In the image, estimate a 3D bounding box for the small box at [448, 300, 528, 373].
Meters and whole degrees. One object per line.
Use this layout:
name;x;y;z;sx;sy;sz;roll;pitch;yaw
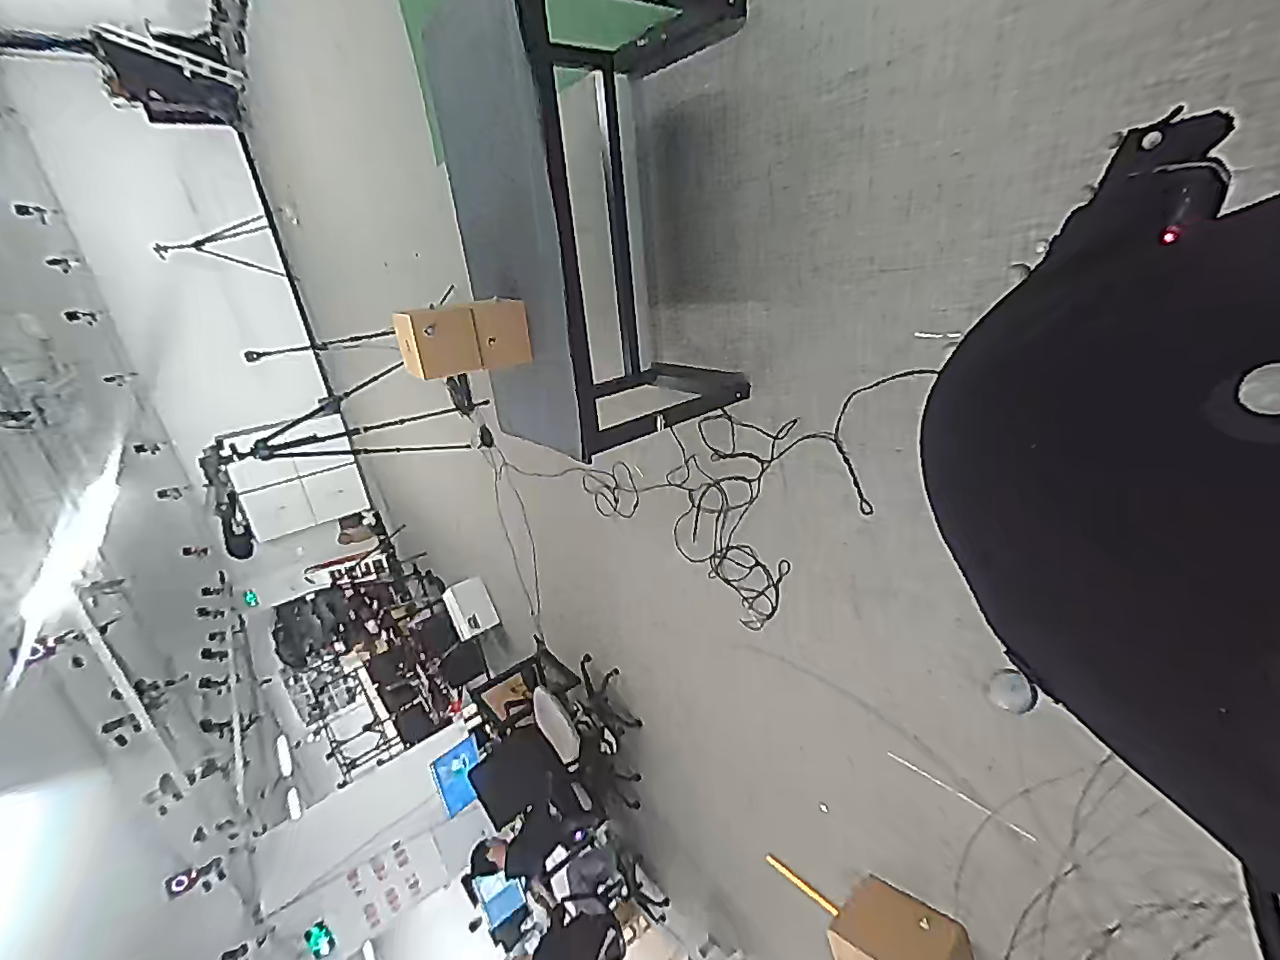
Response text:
small box;-0.449;-0.432;1.613;0.168;0.176;0.179;24;126;46

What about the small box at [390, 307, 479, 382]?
small box;-0.572;-0.385;1.514;0.168;0.176;0.179;23;125;47
